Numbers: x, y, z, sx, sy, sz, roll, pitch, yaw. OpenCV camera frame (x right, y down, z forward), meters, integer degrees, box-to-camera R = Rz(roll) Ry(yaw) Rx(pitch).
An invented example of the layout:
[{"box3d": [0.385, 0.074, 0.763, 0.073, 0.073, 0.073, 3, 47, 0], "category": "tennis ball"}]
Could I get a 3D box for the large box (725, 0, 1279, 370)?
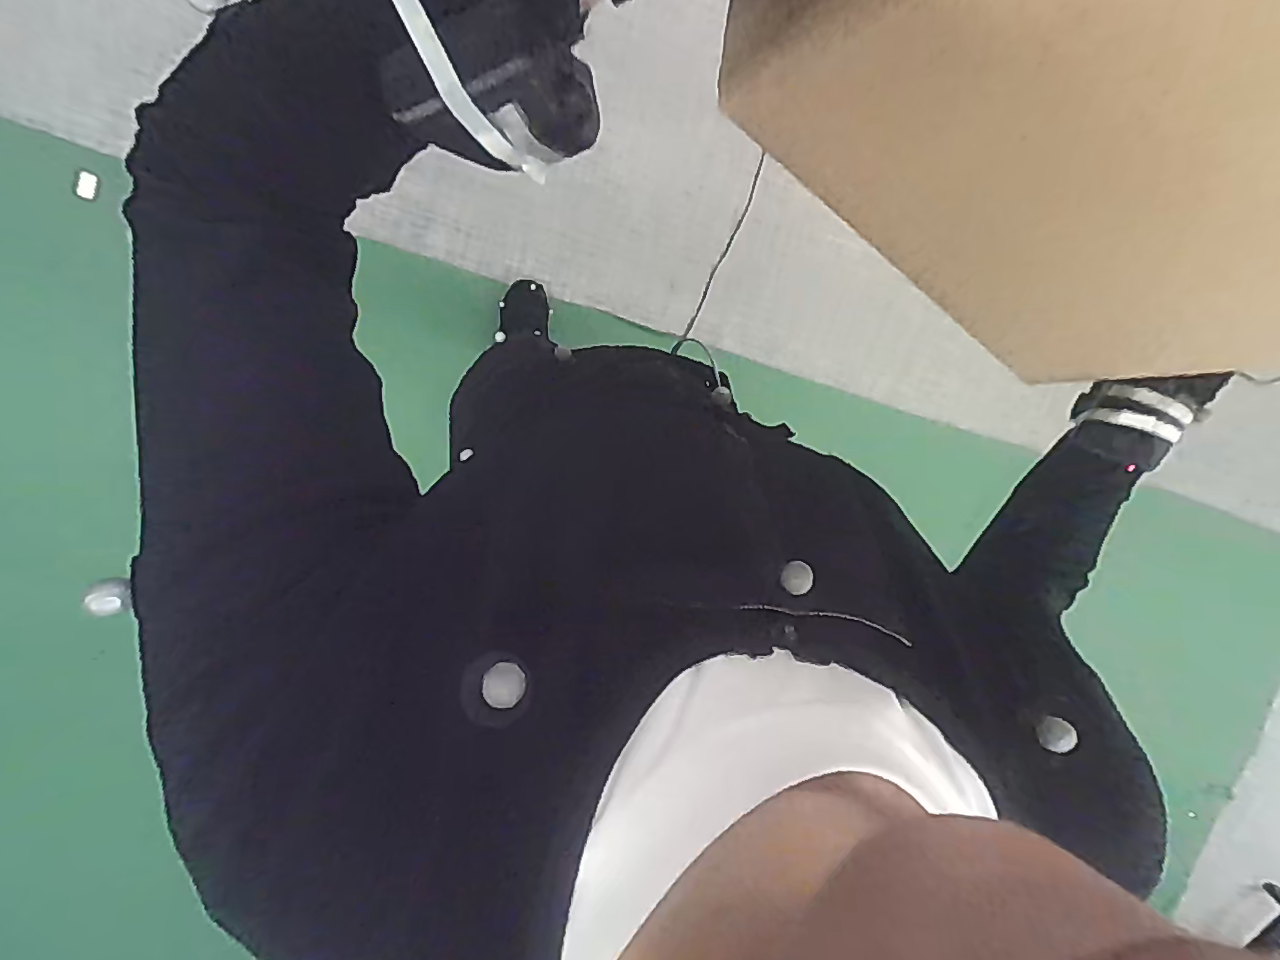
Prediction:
[{"box3d": [0.299, -0.270, 0.251, 0.408, 0.320, 0.320, 15, 85, -38], "category": "large box"}]
